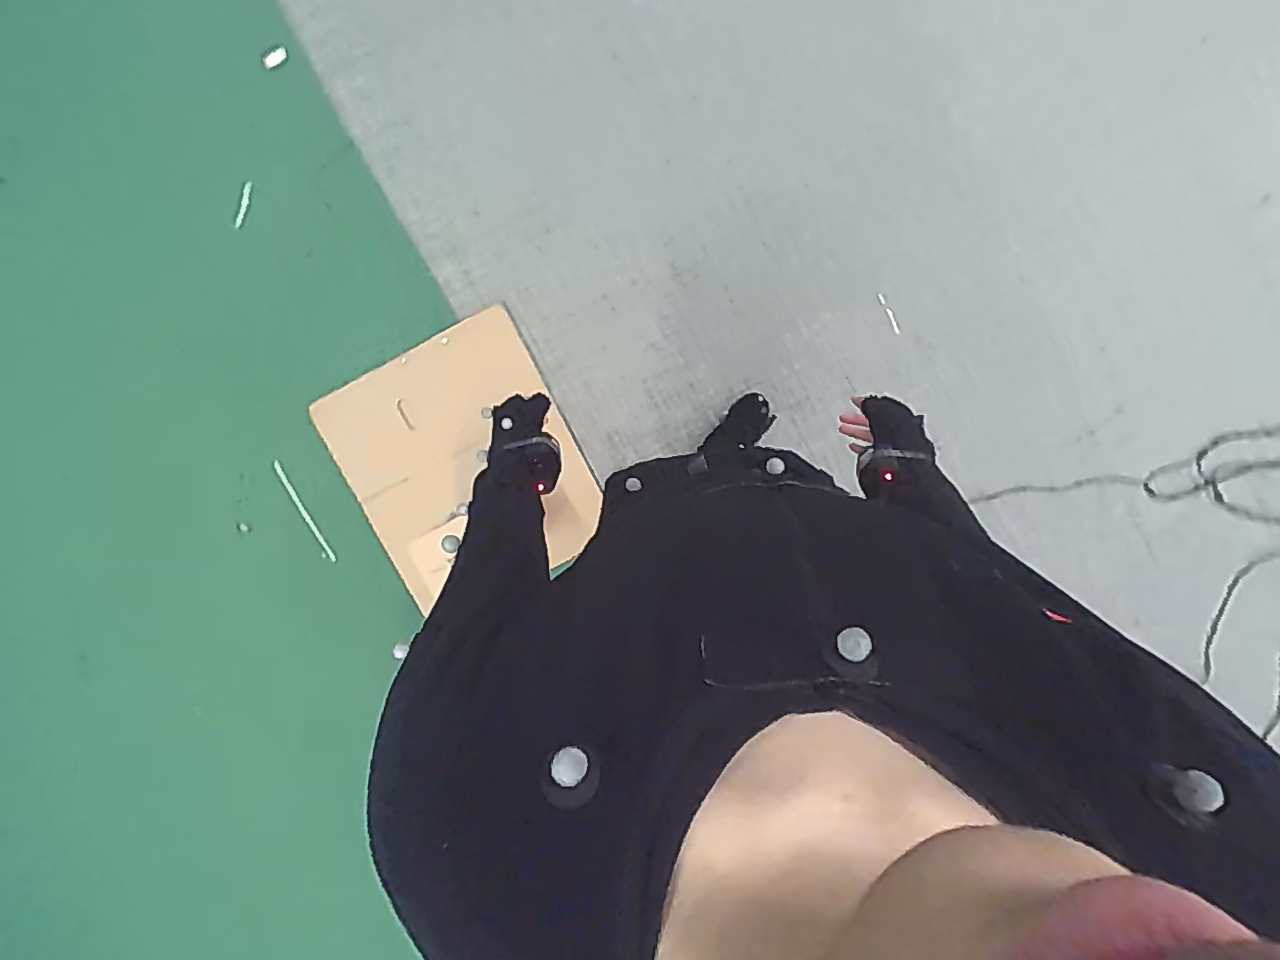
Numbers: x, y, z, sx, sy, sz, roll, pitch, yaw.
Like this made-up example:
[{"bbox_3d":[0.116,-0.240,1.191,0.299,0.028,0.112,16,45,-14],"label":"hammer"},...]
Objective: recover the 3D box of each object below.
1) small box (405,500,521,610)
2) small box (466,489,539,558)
[{"bbox_3d":[-0.389,0.162,1.232,0.179,0.176,0.168,-27,96,5],"label":"small box"},{"bbox_3d":[-0.386,0.140,1.394,0.179,0.176,0.168,-28,97,4],"label":"small box"}]
